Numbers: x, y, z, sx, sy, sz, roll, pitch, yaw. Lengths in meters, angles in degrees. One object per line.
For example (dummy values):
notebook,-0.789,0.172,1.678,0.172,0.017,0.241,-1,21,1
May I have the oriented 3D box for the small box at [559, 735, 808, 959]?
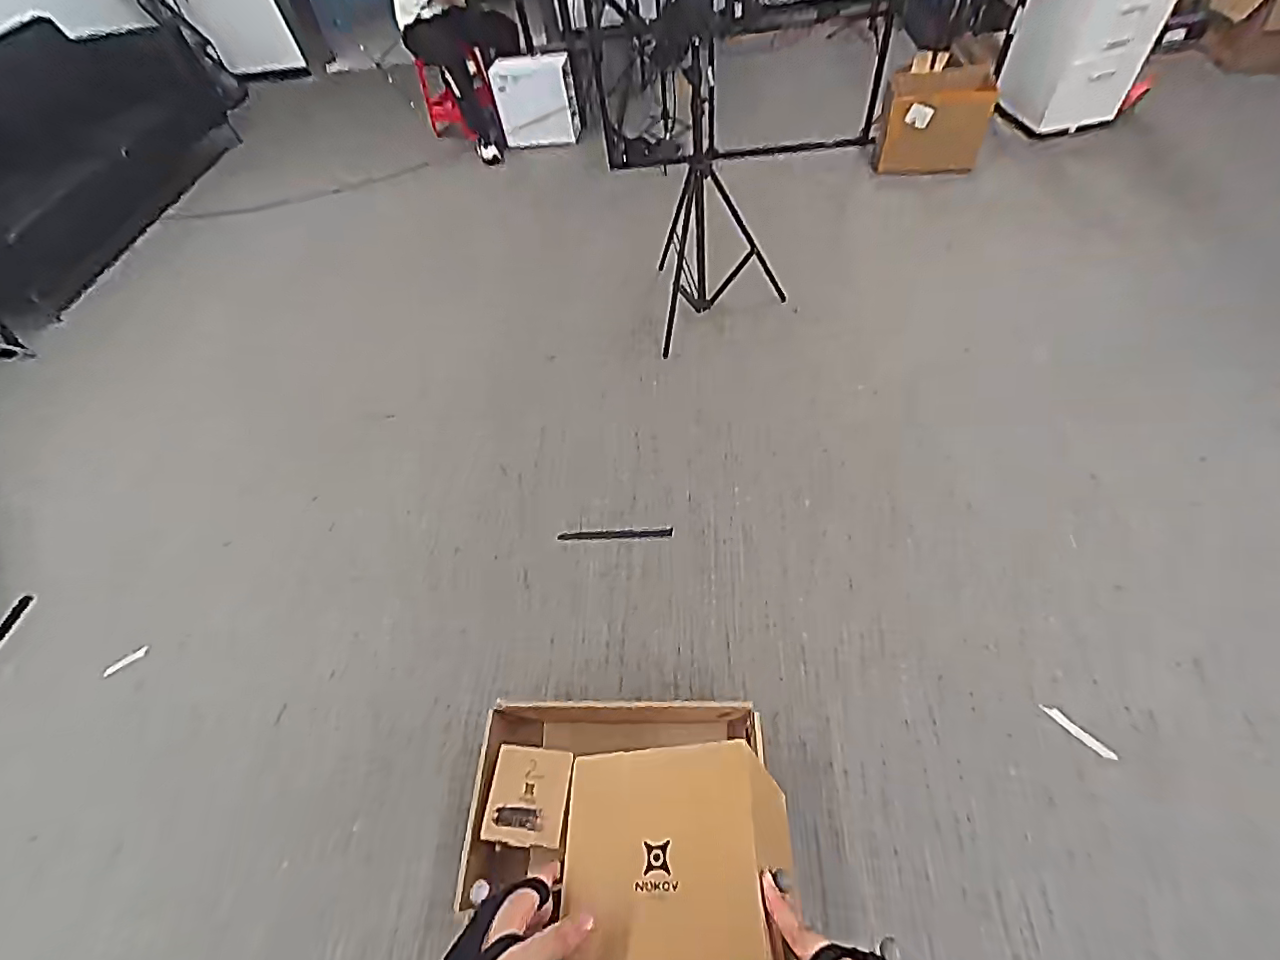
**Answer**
small box,0.046,0.352,0.483,0.168,0.176,0.179,-15,45,16
